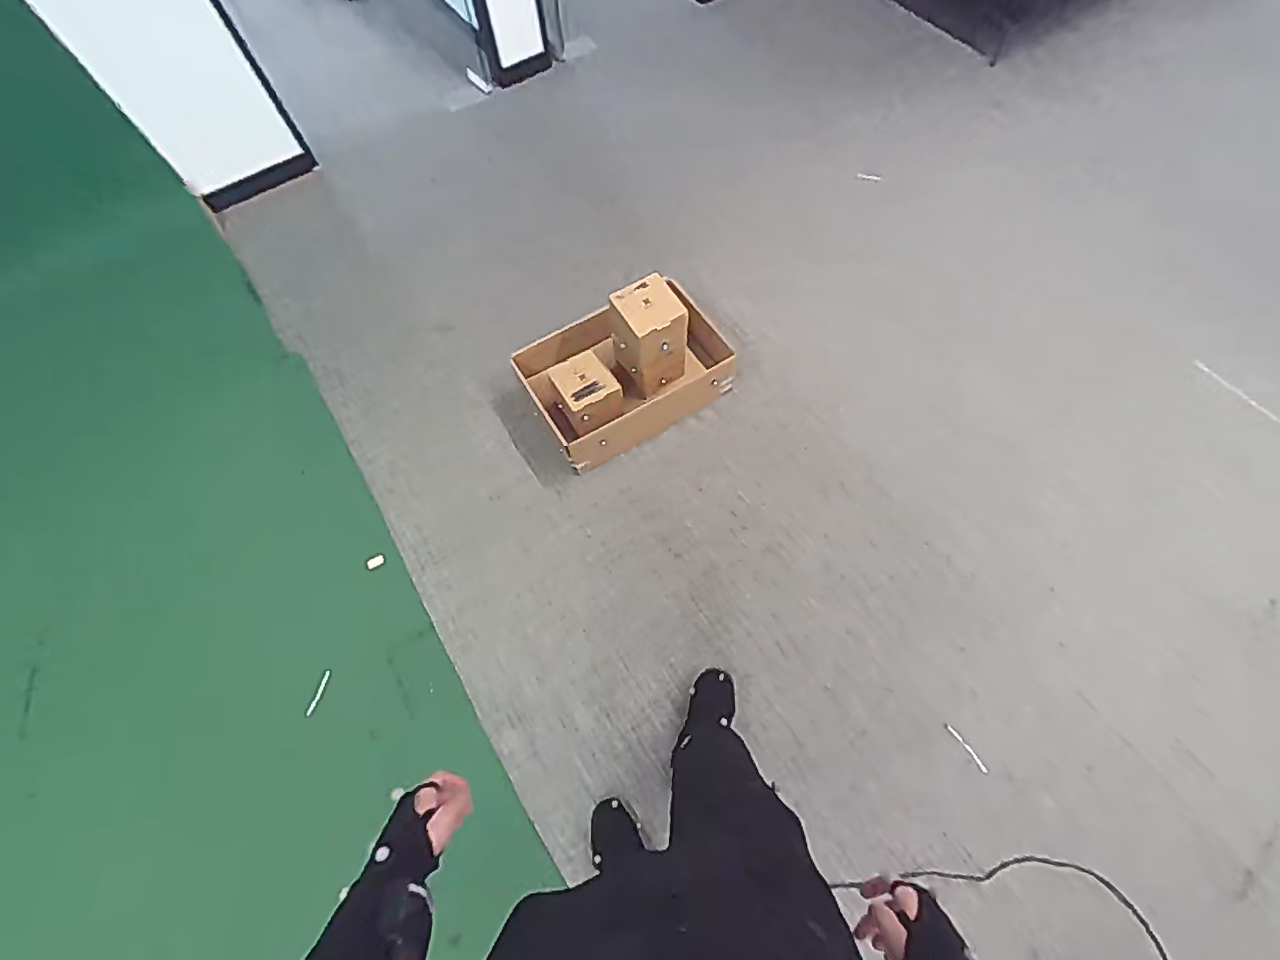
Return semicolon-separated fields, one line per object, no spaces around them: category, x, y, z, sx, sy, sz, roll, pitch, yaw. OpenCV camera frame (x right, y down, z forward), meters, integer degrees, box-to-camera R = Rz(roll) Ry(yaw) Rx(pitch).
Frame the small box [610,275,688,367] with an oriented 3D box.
small box;0.029;-0.459;1.601;0.168;0.176;0.179;-29;70;-10
